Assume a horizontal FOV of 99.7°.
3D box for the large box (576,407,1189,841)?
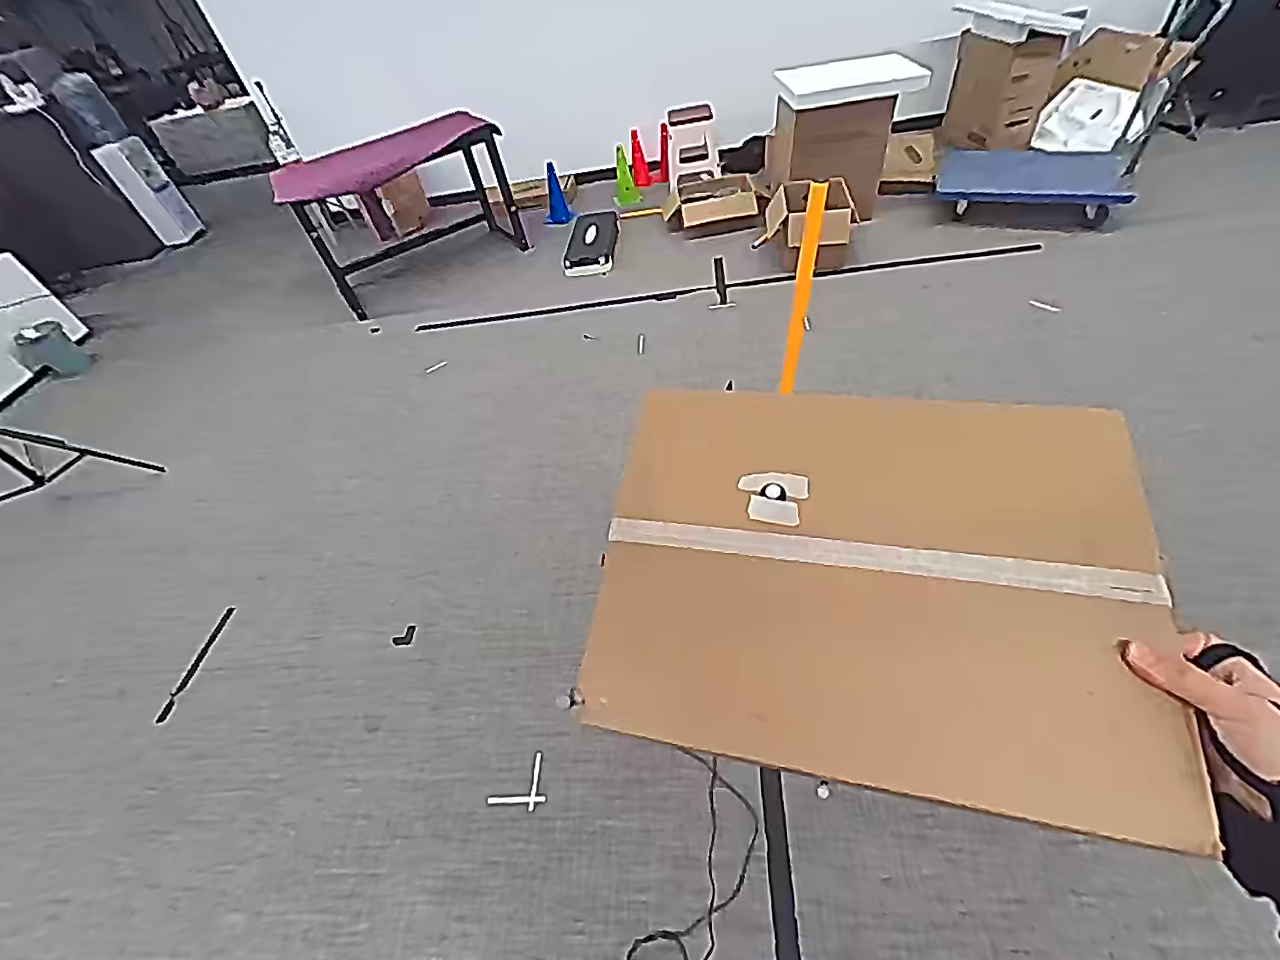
[{"bbox_3d":[0.197,0.139,0.566,0.408,0.320,0.320,4,62,16],"label":"large box"}]
